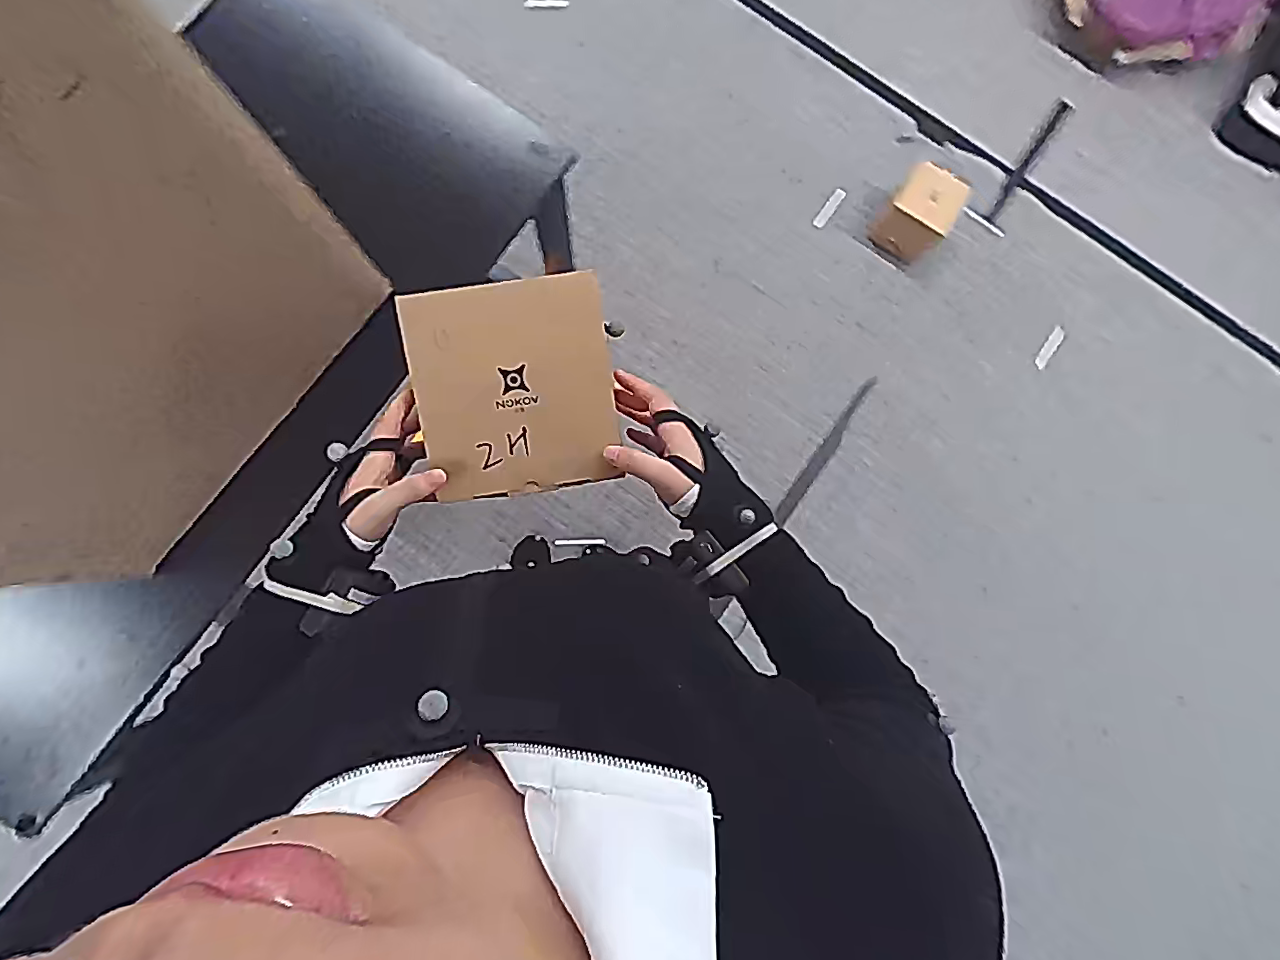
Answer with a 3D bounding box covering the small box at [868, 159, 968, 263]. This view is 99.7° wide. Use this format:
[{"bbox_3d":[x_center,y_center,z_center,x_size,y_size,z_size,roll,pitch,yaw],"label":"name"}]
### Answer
[{"bbox_3d":[0.808,-0.784,1.592,0.168,0.176,0.179,32,84,1],"label":"small box"}]
